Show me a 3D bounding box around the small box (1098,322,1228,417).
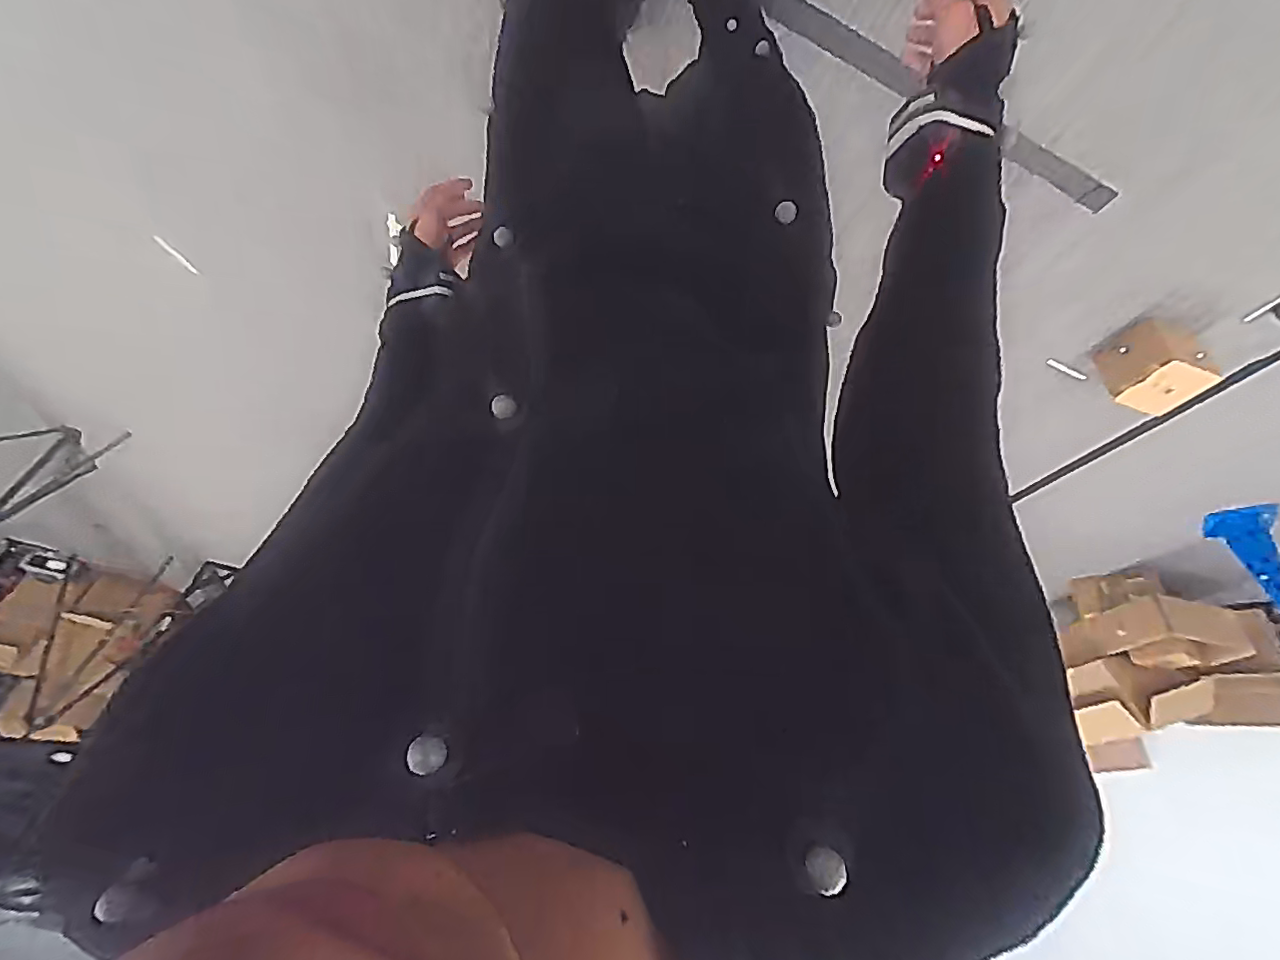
[{"bbox_3d":[1.437,-0.309,1.498,0.179,0.176,0.168,17,144,-9],"label":"small box"}]
